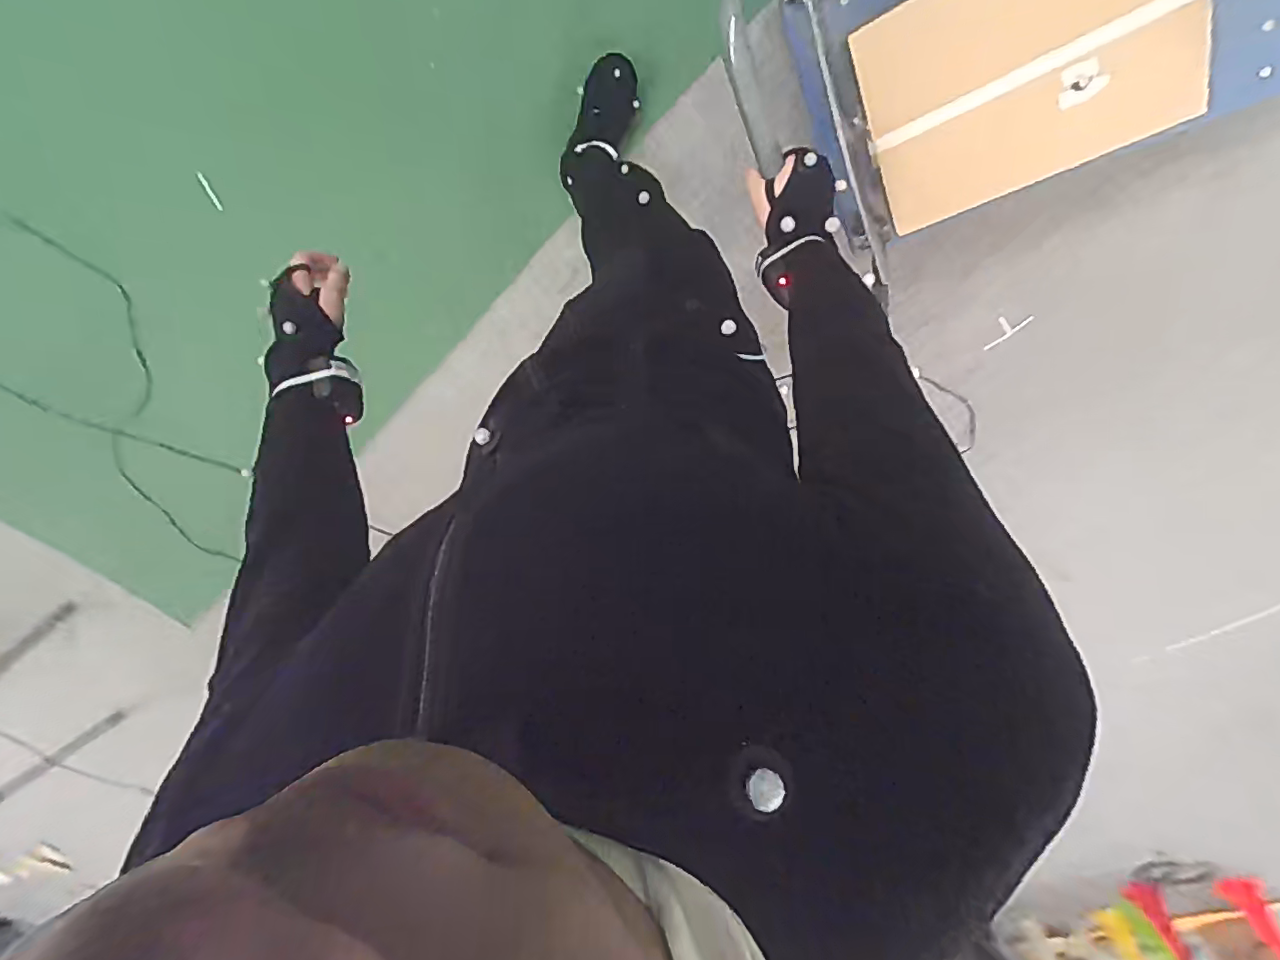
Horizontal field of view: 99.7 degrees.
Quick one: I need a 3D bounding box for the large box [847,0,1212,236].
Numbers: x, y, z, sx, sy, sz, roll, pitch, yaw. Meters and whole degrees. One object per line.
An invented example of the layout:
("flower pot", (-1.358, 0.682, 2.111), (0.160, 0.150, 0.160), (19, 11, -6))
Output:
("large box", (0.591, -0.668, 0.888), (0.408, 0.320, 0.320), (-15, 122, 27))
